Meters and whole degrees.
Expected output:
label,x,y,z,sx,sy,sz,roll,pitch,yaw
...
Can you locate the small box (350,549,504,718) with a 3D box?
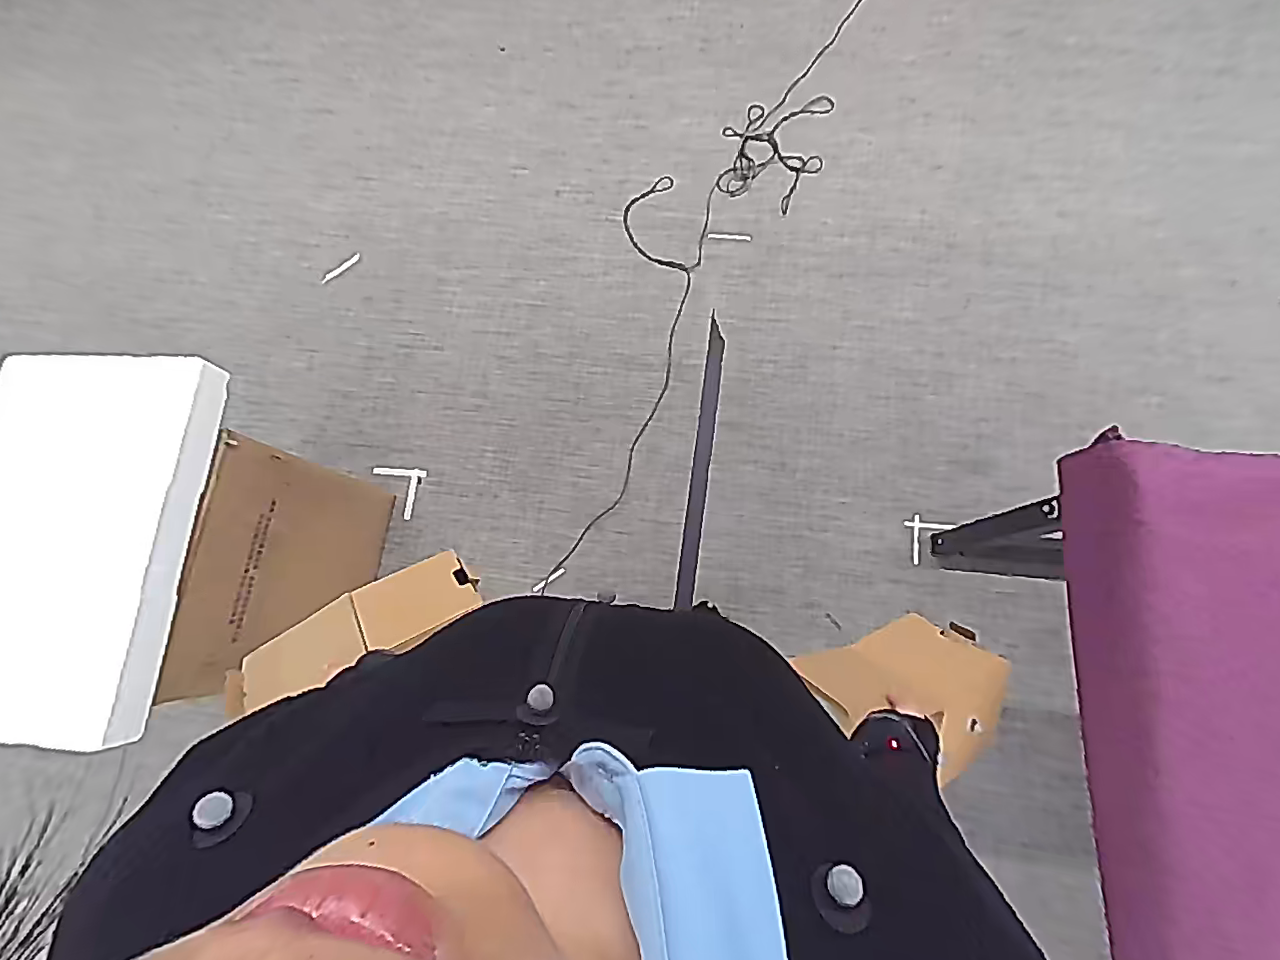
label,x,y,z,sx,sy,sz,roll,pitch,yaw
small box,-0.349,0.253,0.899,0.179,0.176,0.168,-24,39,-25
